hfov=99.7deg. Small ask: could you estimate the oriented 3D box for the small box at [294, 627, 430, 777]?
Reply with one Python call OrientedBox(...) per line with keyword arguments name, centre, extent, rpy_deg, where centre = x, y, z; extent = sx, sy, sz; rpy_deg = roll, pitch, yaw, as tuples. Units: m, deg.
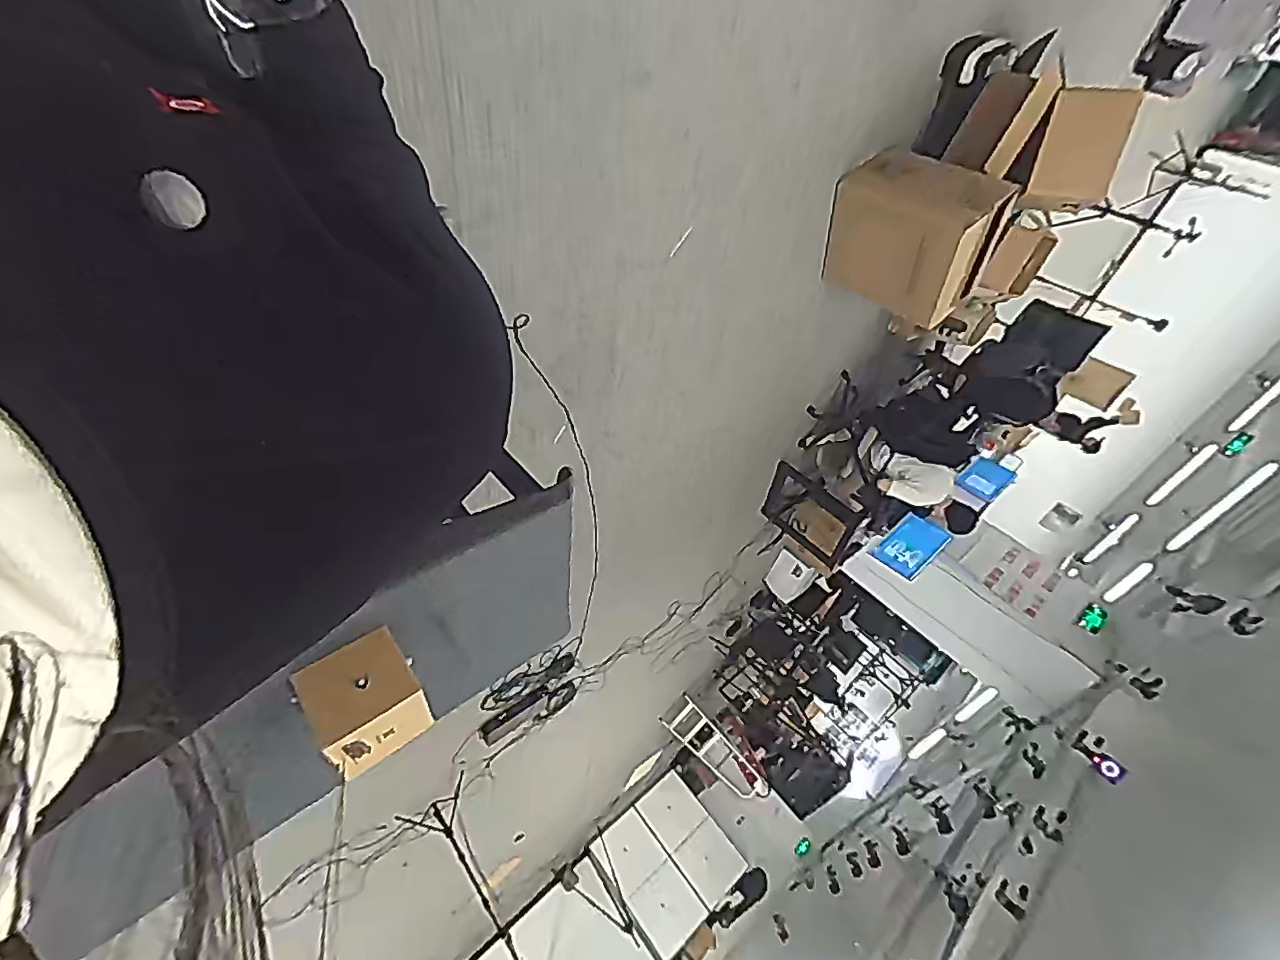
OrientedBox(name="small box", centre=(-0.538, 0.423, 1.043), extent=(0.179, 0.176, 0.168), rpy_deg=(-28, 145, -29))
